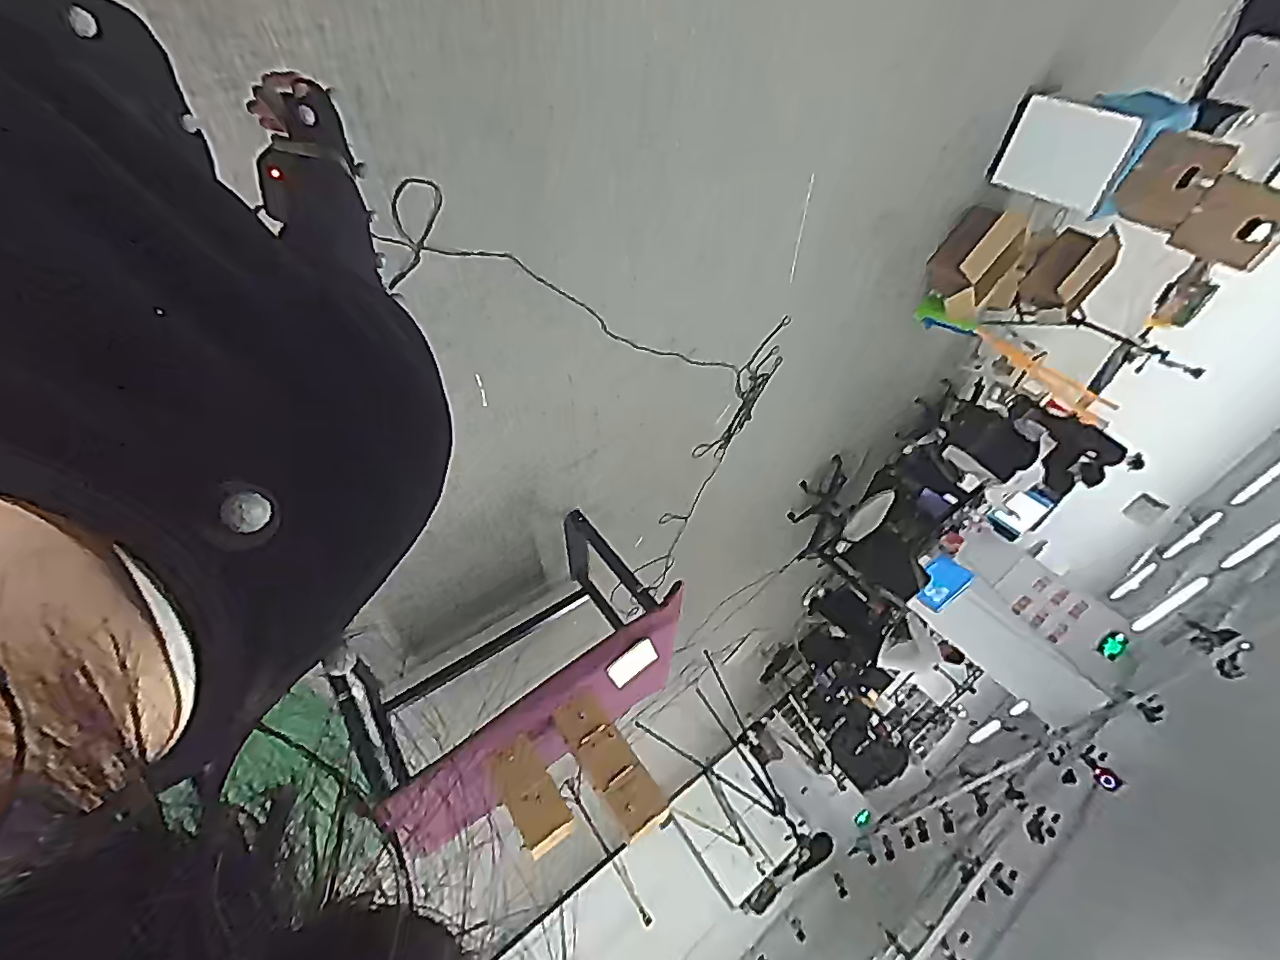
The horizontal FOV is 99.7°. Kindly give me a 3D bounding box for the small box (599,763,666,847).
[{"bbox_3d":[-0.031,1.105,1.850,0.168,0.176,0.179,-26,144,-26],"label":"small box"}]

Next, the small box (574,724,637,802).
[{"bbox_3d":[-0.127,1.009,1.940,0.168,0.176,0.179,-27,145,-26],"label":"small box"}]

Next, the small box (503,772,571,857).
[{"bbox_3d":[-0.347,1.128,1.830,0.168,0.176,0.179,-27,144,-26],"label":"small box"}]

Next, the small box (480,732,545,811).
[{"bbox_3d":[-0.445,1.025,1.909,0.168,0.176,0.179,-27,145,-26],"label":"small box"}]

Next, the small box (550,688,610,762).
[{"bbox_3d":[-0.226,0.914,2.033,0.168,0.176,0.179,-26,143,-25],"label":"small box"}]
